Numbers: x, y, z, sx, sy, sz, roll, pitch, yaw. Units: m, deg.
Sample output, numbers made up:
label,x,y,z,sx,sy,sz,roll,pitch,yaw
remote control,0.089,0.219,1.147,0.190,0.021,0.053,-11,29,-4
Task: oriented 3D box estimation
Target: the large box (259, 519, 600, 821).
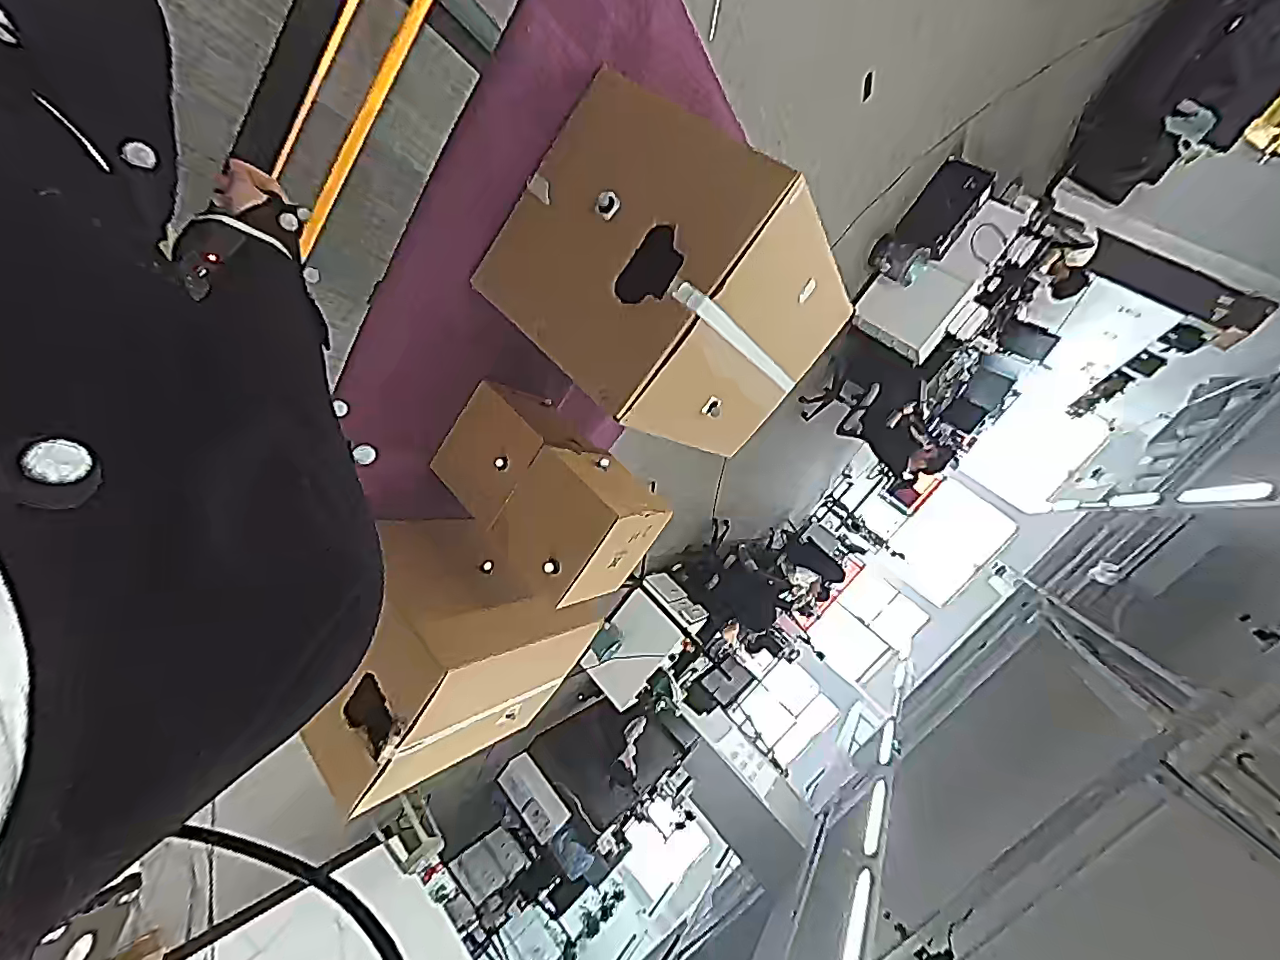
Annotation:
label,x,y,z,sx,sy,sz,roll,pitch,yaw
large box,-0.353,0.284,0.961,0.320,0.320,0.408,-53,157,14
